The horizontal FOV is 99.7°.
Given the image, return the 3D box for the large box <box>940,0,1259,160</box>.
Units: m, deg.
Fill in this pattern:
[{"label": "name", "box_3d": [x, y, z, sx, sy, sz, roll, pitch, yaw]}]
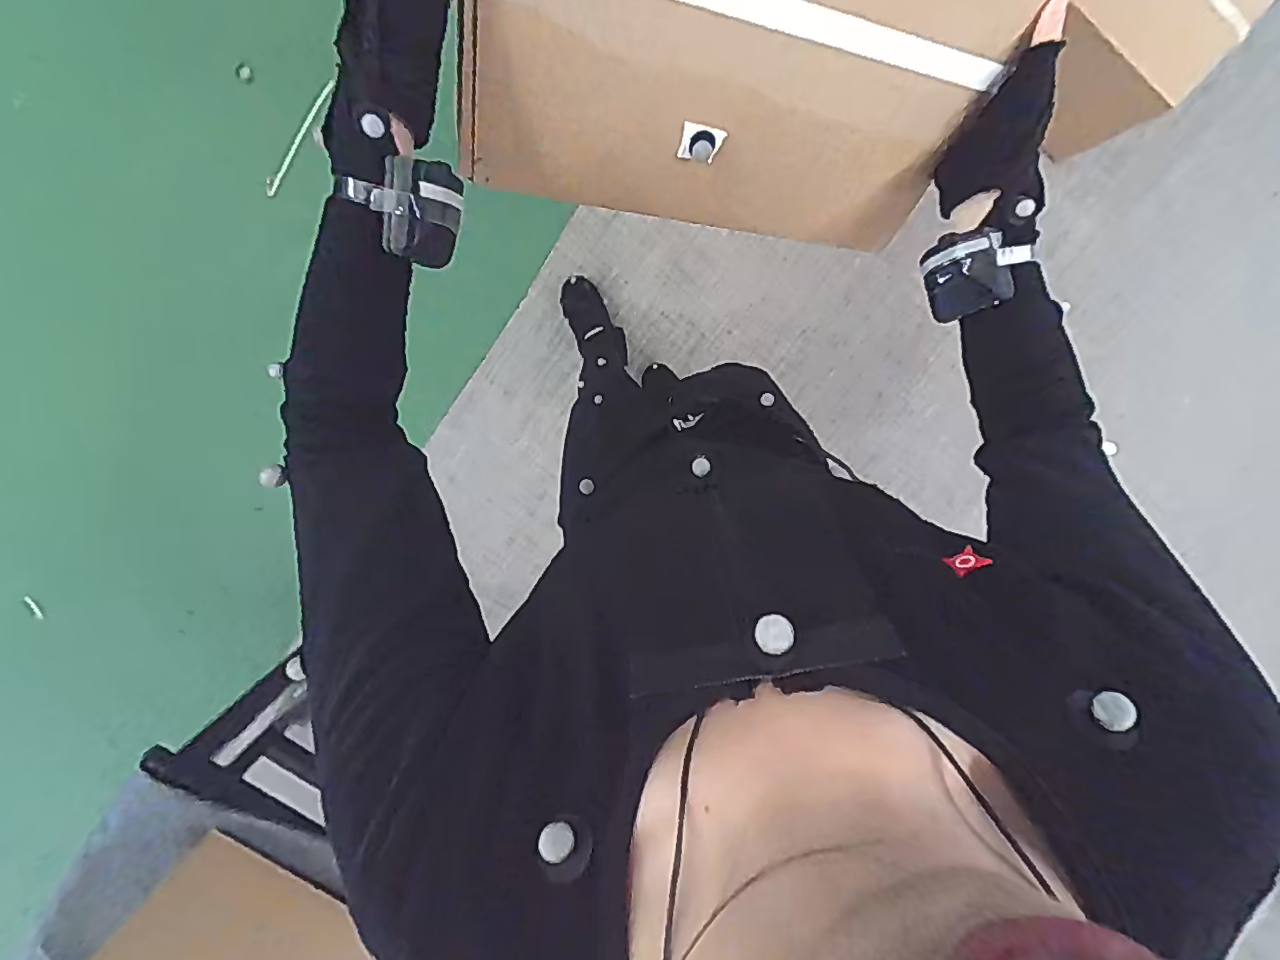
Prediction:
[{"label": "large box", "box_3d": [0.956, -0.984, 1.144, 0.408, 0.320, 0.320, 37, 100, -6]}]
